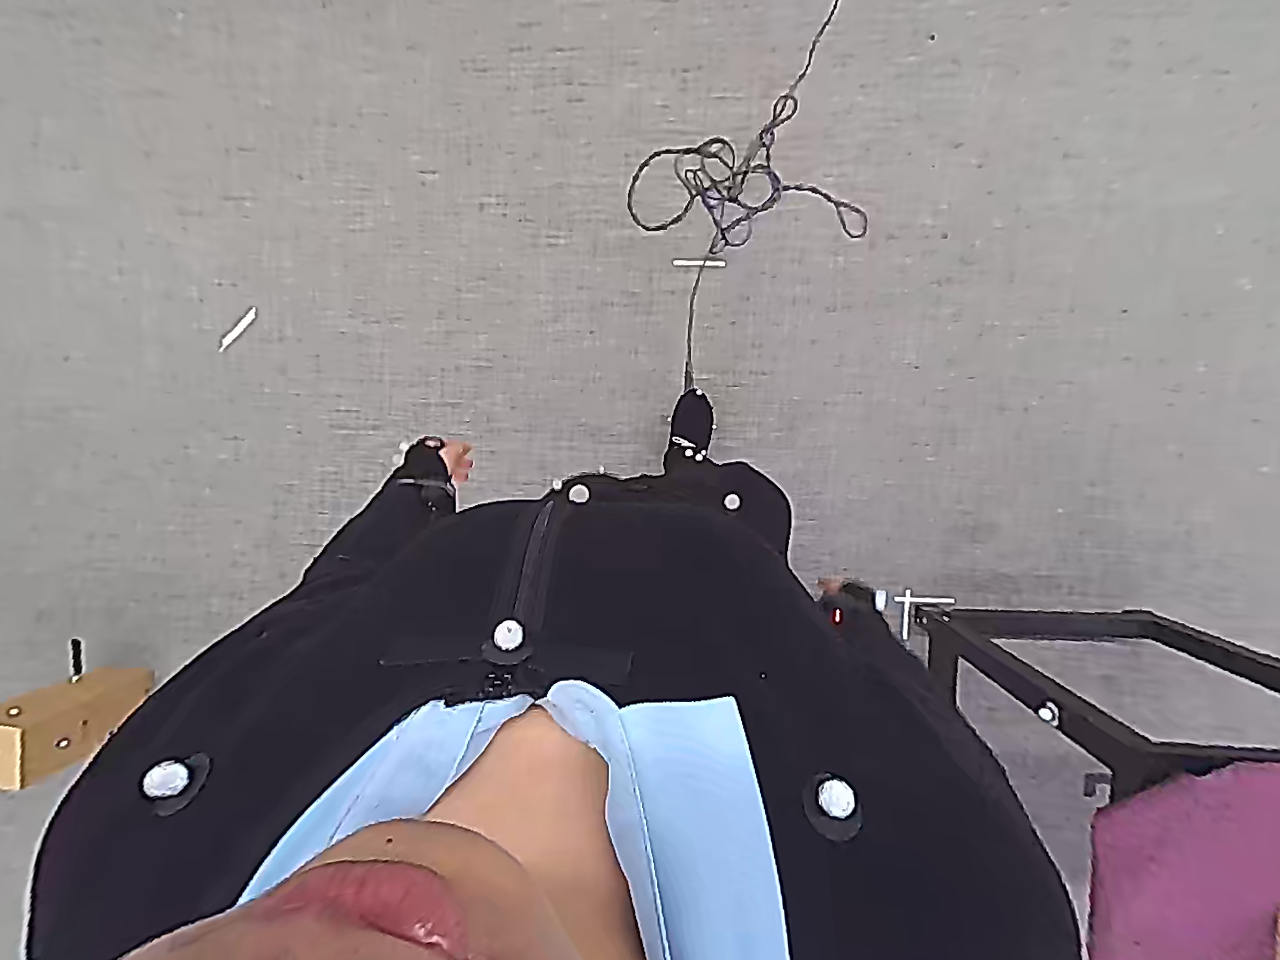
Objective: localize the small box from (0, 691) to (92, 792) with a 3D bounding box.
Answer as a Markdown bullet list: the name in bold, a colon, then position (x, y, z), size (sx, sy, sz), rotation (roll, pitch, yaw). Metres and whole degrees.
- **small box**: position (-1.595, 0.674, 1.411), size (0.179, 0.176, 0.168), rotation (7, 94, 5)
